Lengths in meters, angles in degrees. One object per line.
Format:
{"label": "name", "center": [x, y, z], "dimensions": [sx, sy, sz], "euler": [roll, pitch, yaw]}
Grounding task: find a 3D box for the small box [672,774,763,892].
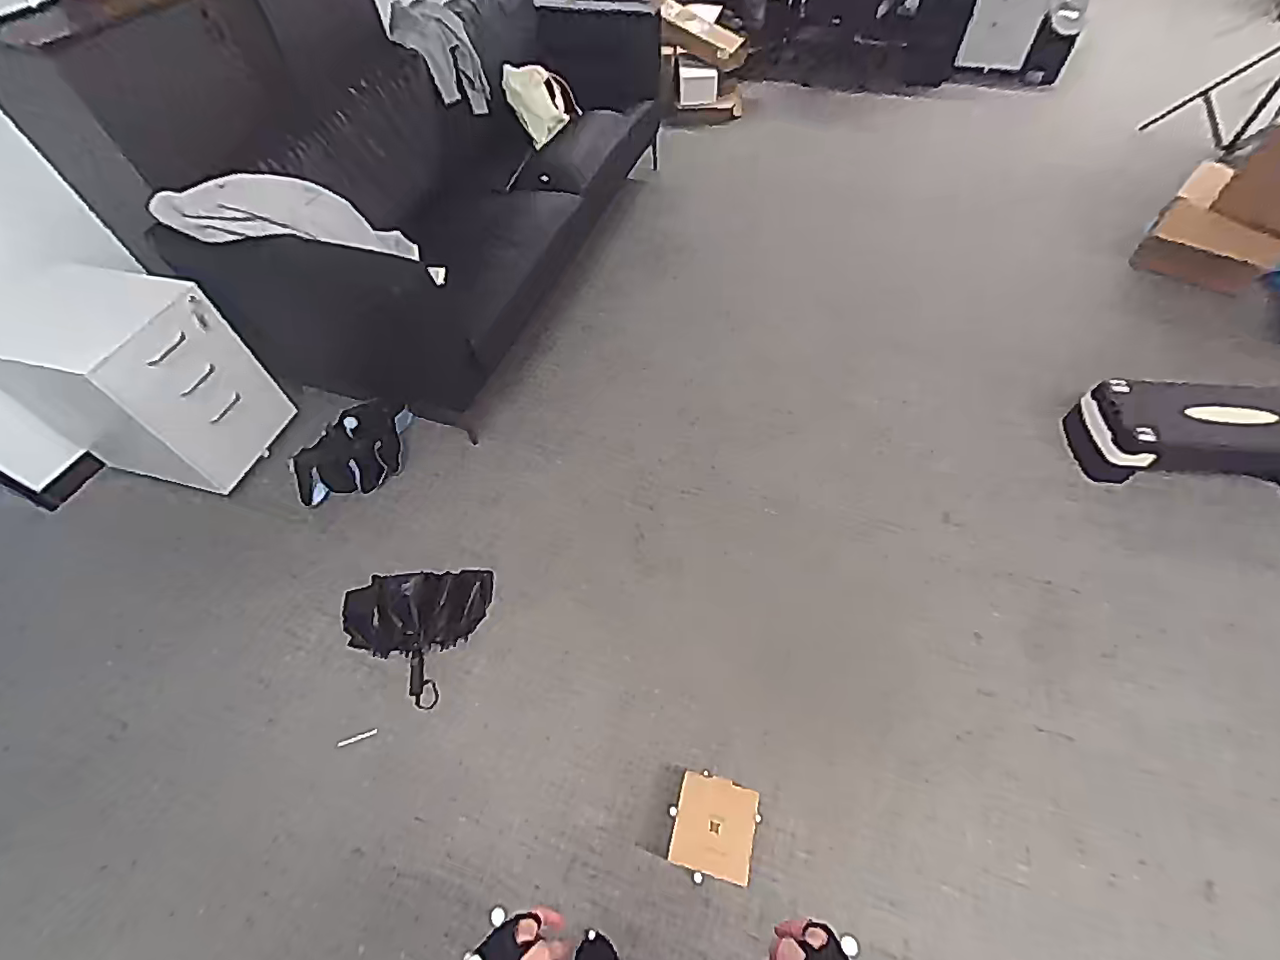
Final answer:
{"label": "small box", "center": [0.169, 0.779, 1.196], "dimensions": [0.168, 0.176, 0.179], "euler": [10, 57, 12]}
